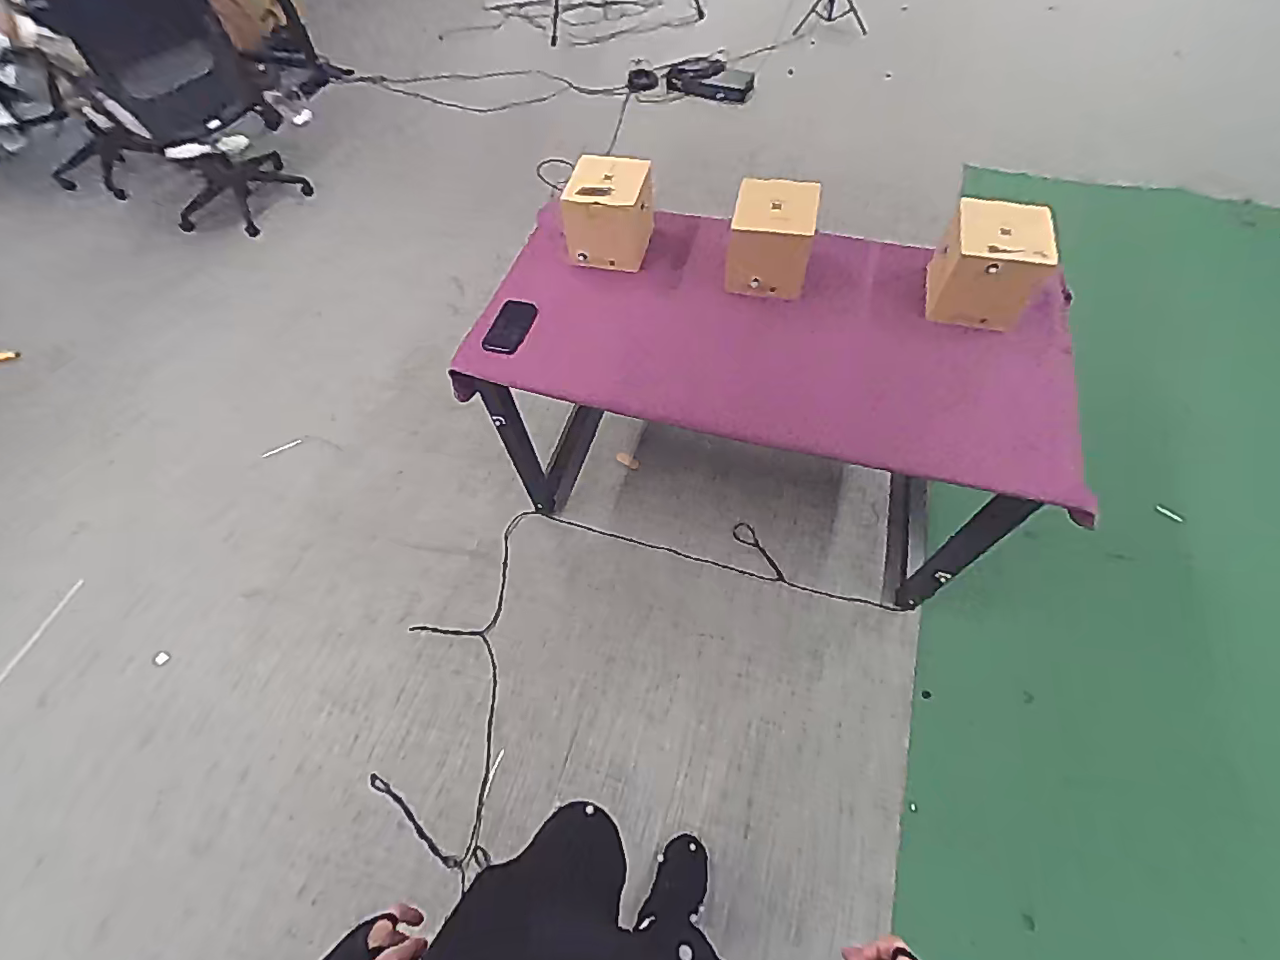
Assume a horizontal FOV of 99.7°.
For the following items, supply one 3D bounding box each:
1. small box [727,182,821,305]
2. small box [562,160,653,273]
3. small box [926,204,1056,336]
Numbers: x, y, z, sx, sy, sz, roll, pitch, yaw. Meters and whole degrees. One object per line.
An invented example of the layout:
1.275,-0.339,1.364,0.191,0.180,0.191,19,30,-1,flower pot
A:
0.286,-0.512,1.177,0.168,0.176,0.179,10,61,10,small box
-0.065,-0.606,1.251,0.168,0.176,0.179,11,60,9,small box
0.698,-0.423,1.096,0.168,0.176,0.179,12,60,11,small box
